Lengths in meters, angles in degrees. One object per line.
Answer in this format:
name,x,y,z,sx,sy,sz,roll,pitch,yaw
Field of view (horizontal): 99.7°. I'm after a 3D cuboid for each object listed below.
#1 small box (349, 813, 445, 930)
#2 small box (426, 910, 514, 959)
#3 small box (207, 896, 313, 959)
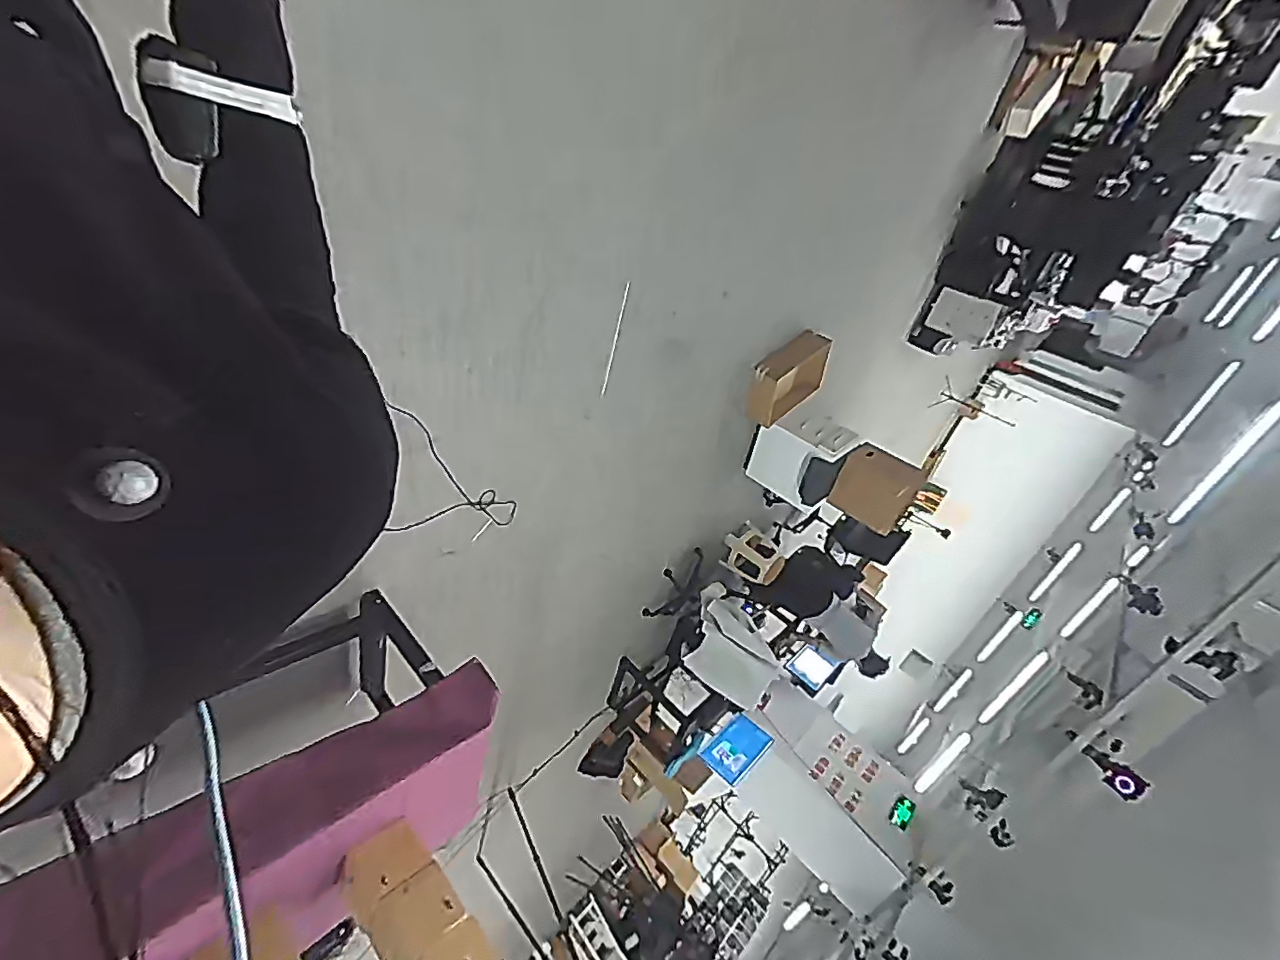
small box,-0.696,1.105,1.544,0.179,0.176,0.168,-5,125,-52
small box,-0.461,1.284,1.398,0.179,0.176,0.168,5,118,-57
small box,-0.912,1.167,1.299,0.179,0.176,0.168,-17,135,-47
